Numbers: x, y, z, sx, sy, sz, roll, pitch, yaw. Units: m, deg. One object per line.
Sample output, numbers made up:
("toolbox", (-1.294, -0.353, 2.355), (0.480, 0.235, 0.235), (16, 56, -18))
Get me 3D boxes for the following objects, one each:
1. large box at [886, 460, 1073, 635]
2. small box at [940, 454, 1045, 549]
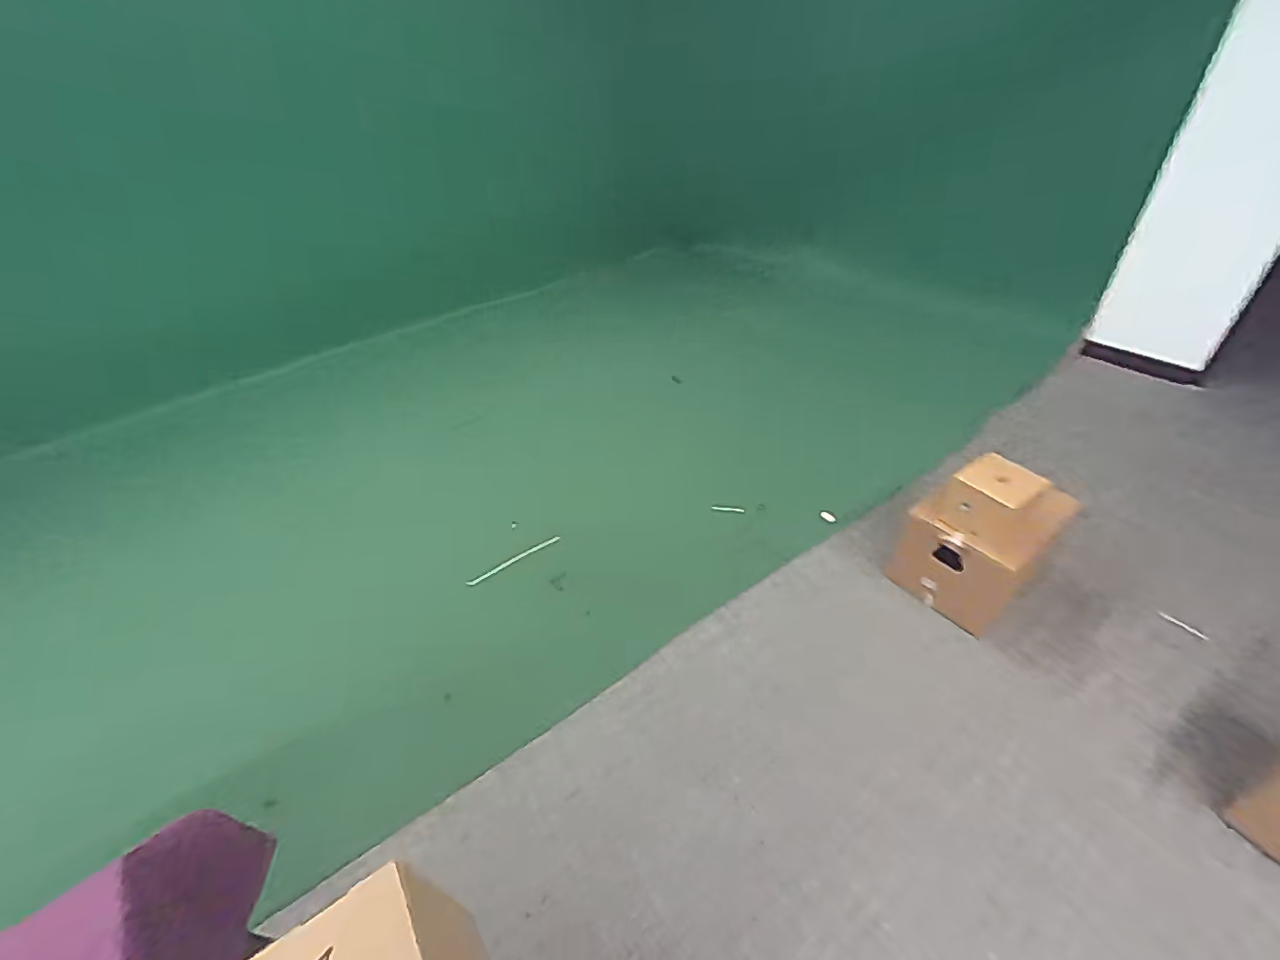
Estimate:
("large box", (1.051, 0.203, 1.707), (0.408, 0.320, 0.320), (-28, 44, -24))
("small box", (0.968, 0.061, 1.504), (0.179, 0.176, 0.168), (-25, 44, -22))
